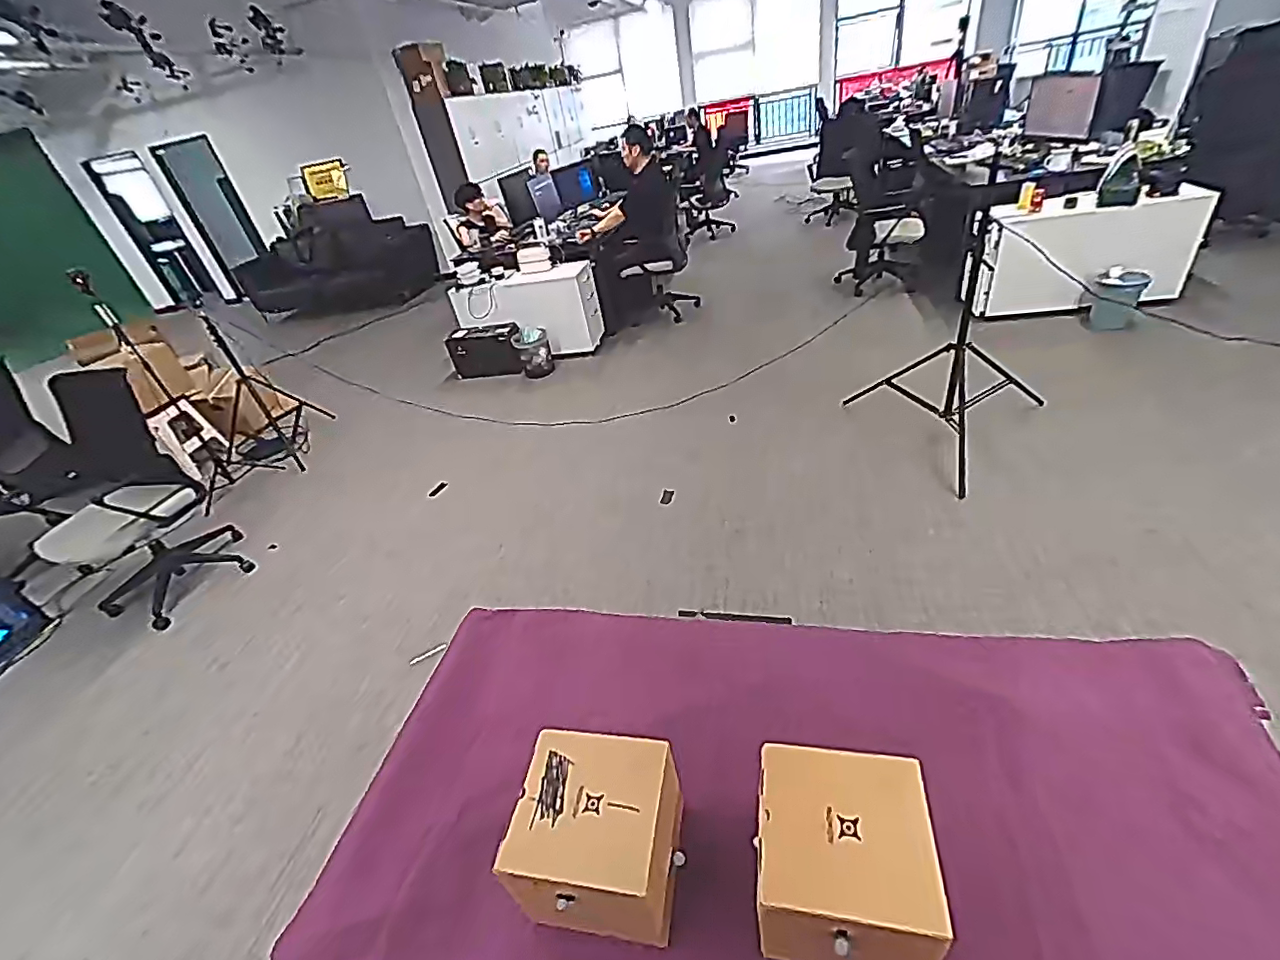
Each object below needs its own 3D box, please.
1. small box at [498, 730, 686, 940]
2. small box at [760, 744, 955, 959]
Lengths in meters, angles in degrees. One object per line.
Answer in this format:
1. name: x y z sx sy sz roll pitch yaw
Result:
1. small box: -0.046 0.443 0.682 0.179 0.176 0.168 -1 37 14
2. small box: 0.232 0.433 0.618 0.179 0.176 0.168 -2 36 16
